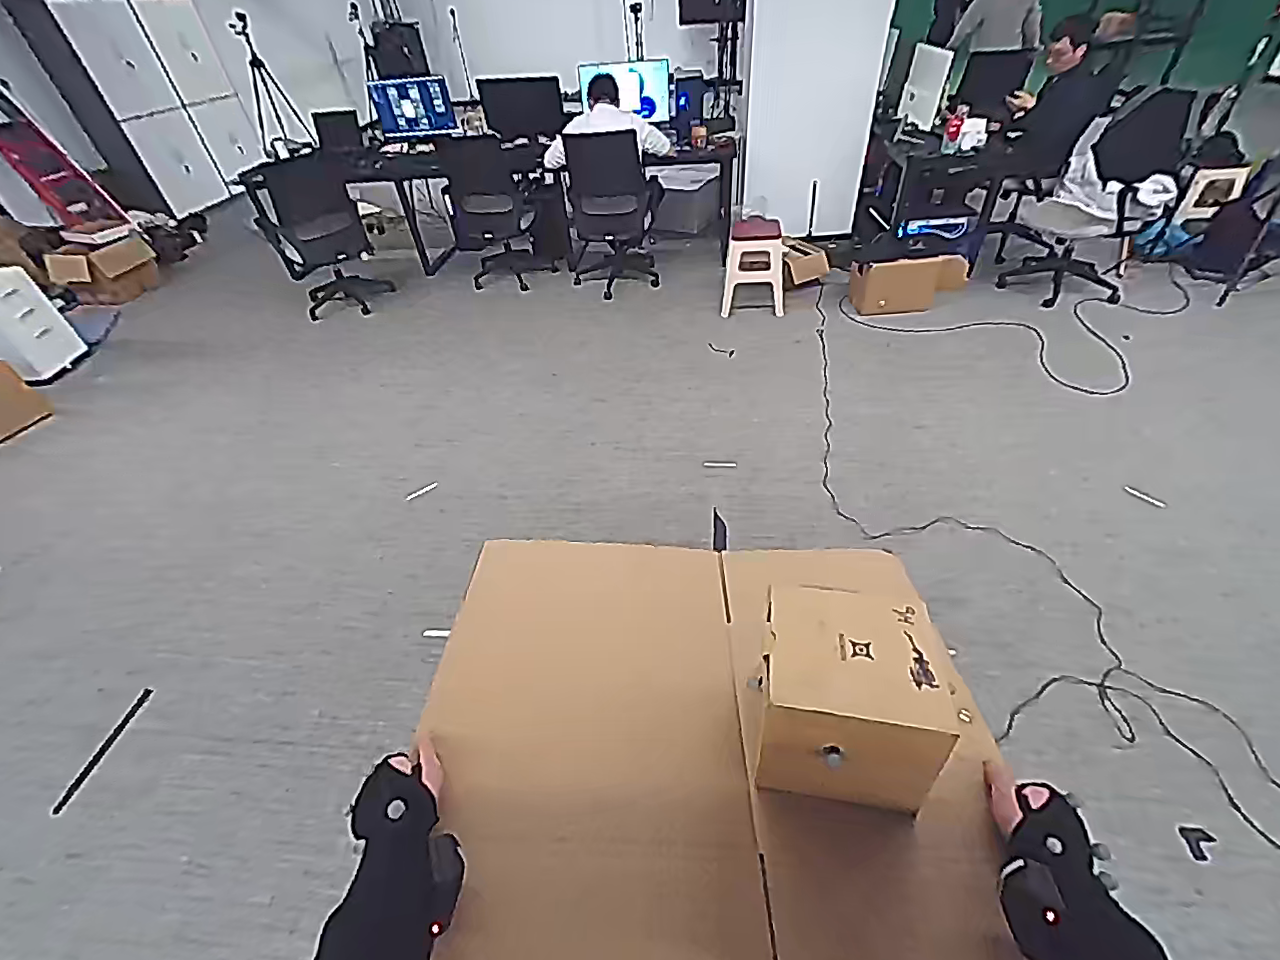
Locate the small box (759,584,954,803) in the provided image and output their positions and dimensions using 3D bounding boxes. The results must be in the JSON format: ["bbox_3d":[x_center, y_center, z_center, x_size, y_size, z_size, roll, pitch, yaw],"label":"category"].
[{"bbox_3d":[0.233,0.245,0.629,0.179,0.176,0.168,4,38,12],"label":"small box"}]
